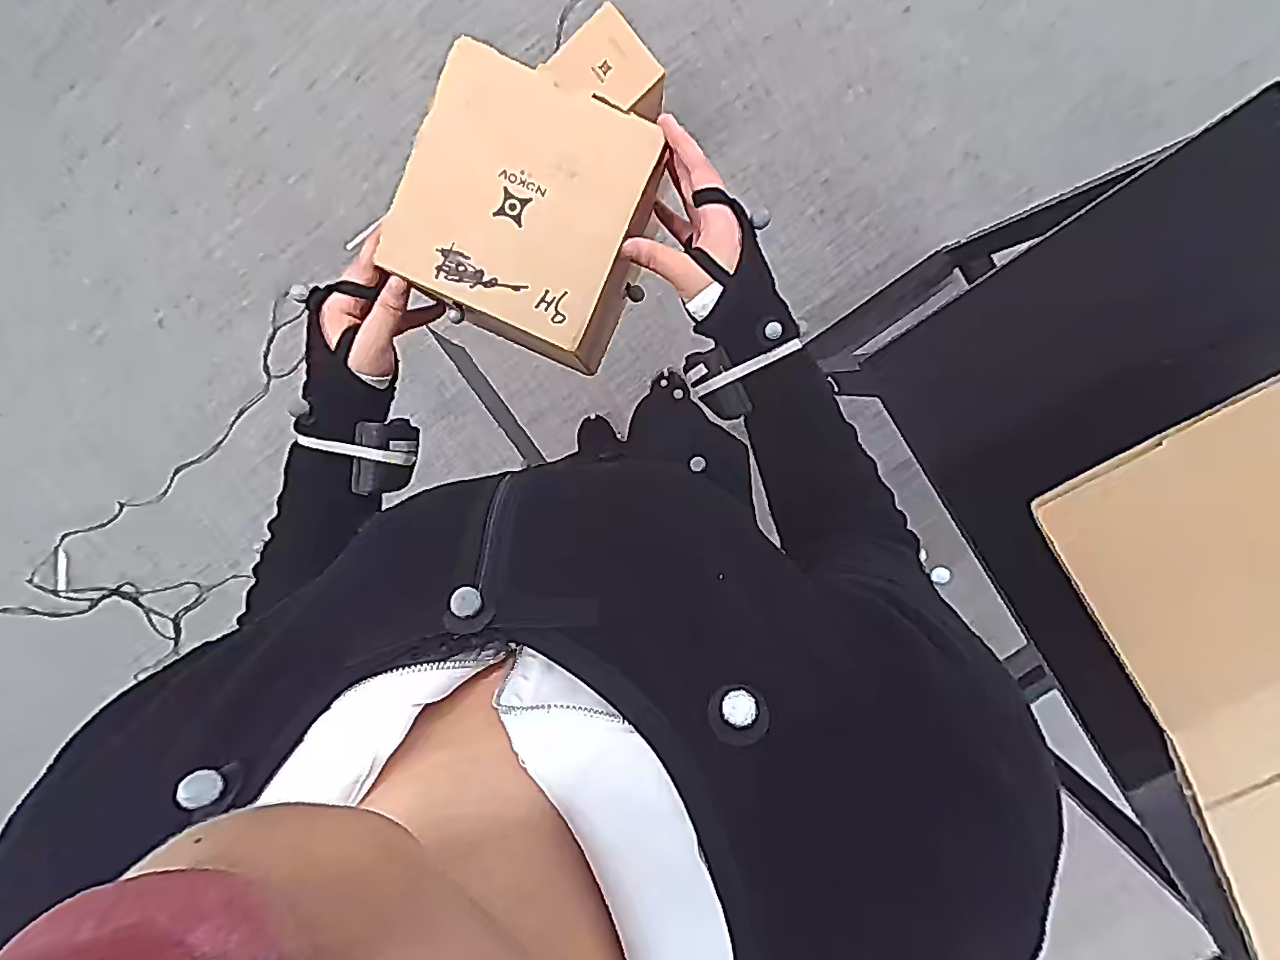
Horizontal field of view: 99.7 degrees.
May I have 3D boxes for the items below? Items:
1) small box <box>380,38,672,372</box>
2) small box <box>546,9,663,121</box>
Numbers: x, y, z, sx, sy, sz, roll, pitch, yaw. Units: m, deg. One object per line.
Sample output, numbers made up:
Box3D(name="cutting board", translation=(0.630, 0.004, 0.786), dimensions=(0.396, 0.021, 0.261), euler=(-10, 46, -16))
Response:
Box3D(name="small box", translation=(-0.085, -0.215, 0.477), dimensions=(0.168, 0.176, 0.179), euler=(24, 93, 0))
Box3D(name="small box", translation=(-0.069, -0.791, 1.119), dimensions=(0.179, 0.176, 0.168), euler=(-42, 98, 5))
